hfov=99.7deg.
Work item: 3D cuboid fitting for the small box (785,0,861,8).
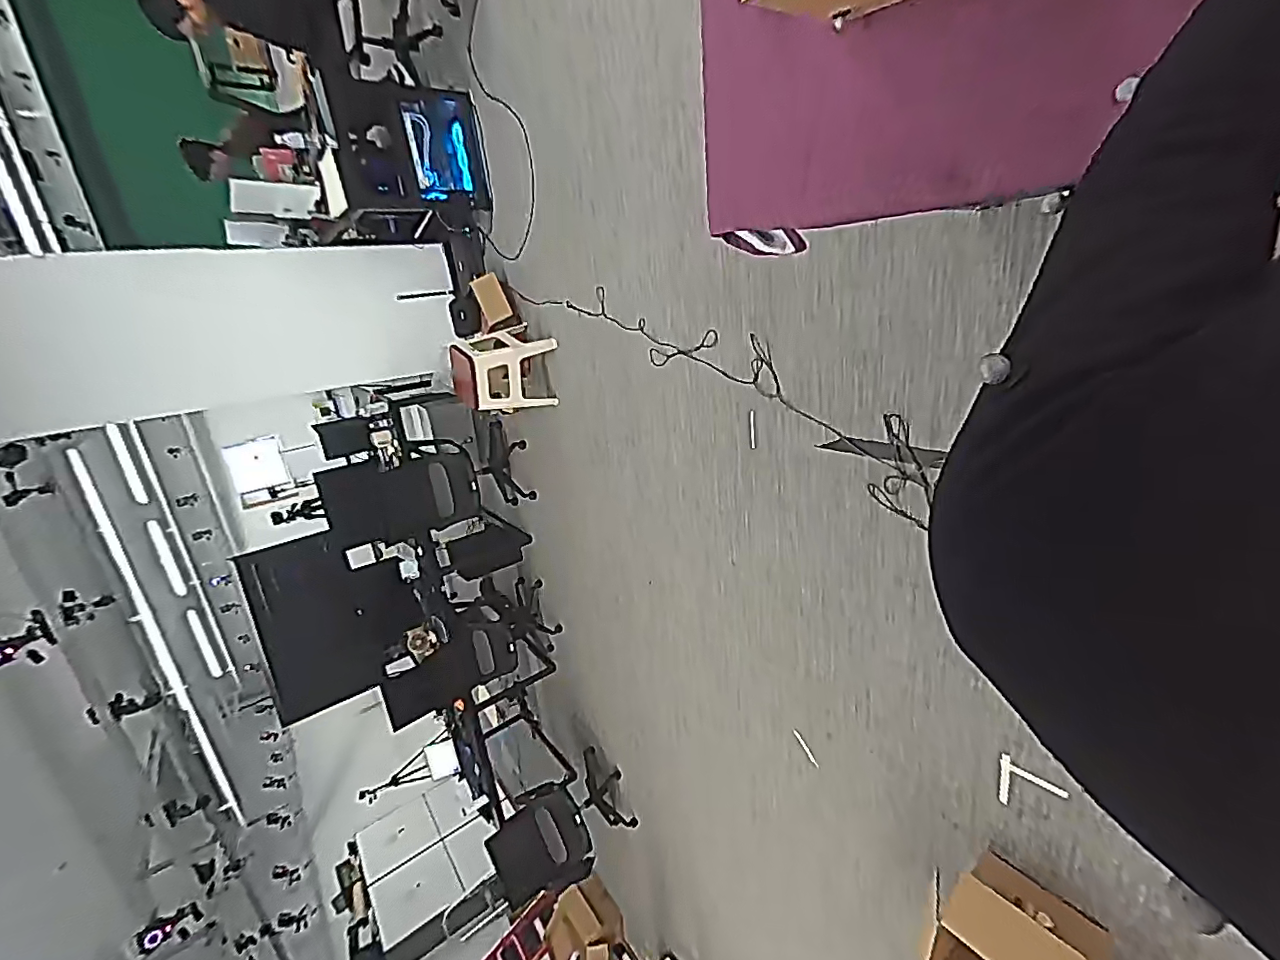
[{"bbox_3d":[0.210,-0.586,0.512,0.168,0.176,0.179,25,126,48],"label":"small box"}]
